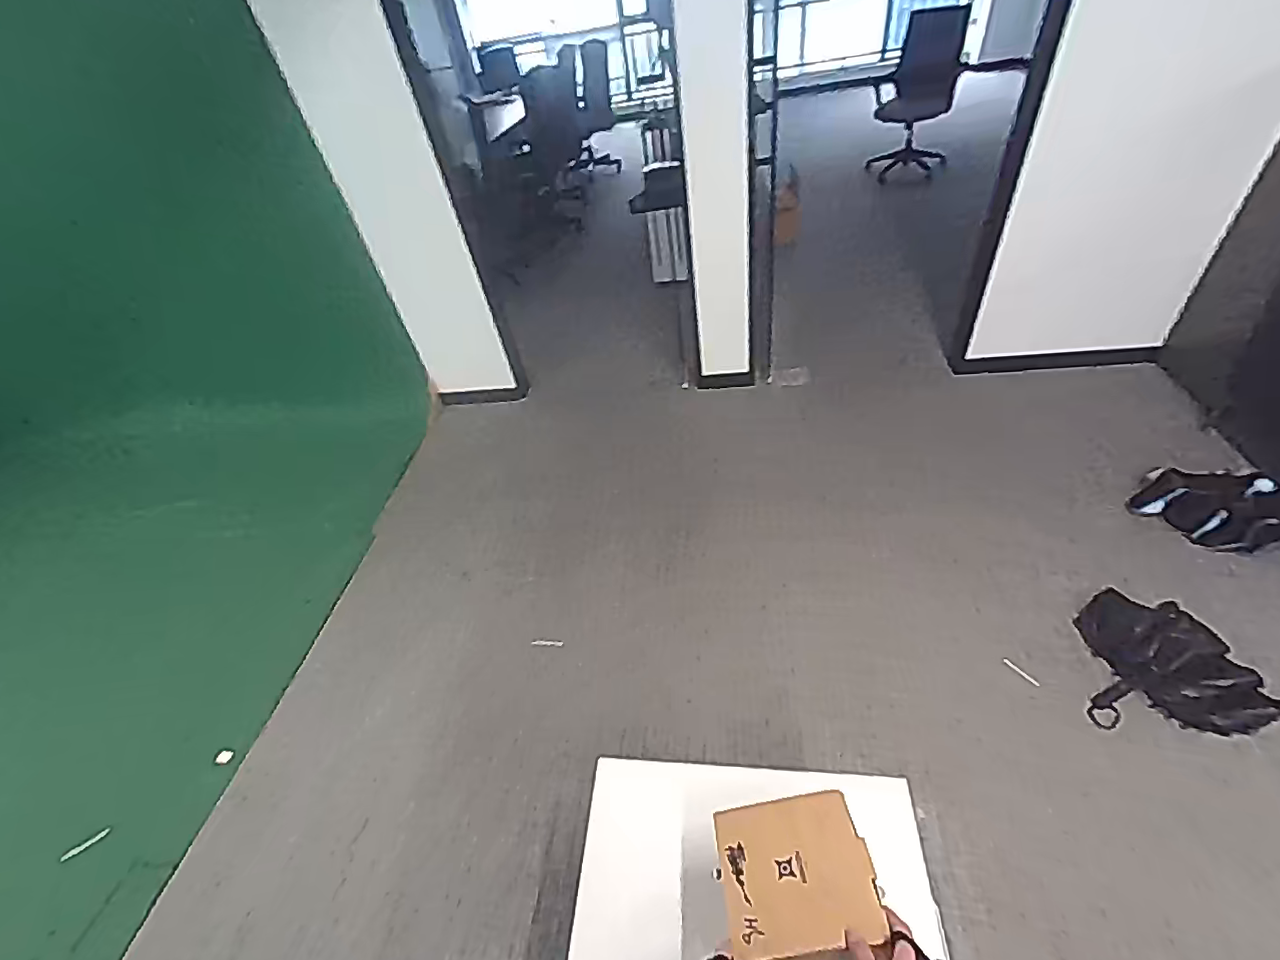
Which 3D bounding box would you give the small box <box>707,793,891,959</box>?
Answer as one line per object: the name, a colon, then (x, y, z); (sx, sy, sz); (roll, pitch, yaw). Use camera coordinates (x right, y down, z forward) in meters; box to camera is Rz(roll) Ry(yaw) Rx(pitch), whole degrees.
small box: (0.189, 0.526, 0.670); (0.179, 0.176, 0.168); (-12, 28, 5)
